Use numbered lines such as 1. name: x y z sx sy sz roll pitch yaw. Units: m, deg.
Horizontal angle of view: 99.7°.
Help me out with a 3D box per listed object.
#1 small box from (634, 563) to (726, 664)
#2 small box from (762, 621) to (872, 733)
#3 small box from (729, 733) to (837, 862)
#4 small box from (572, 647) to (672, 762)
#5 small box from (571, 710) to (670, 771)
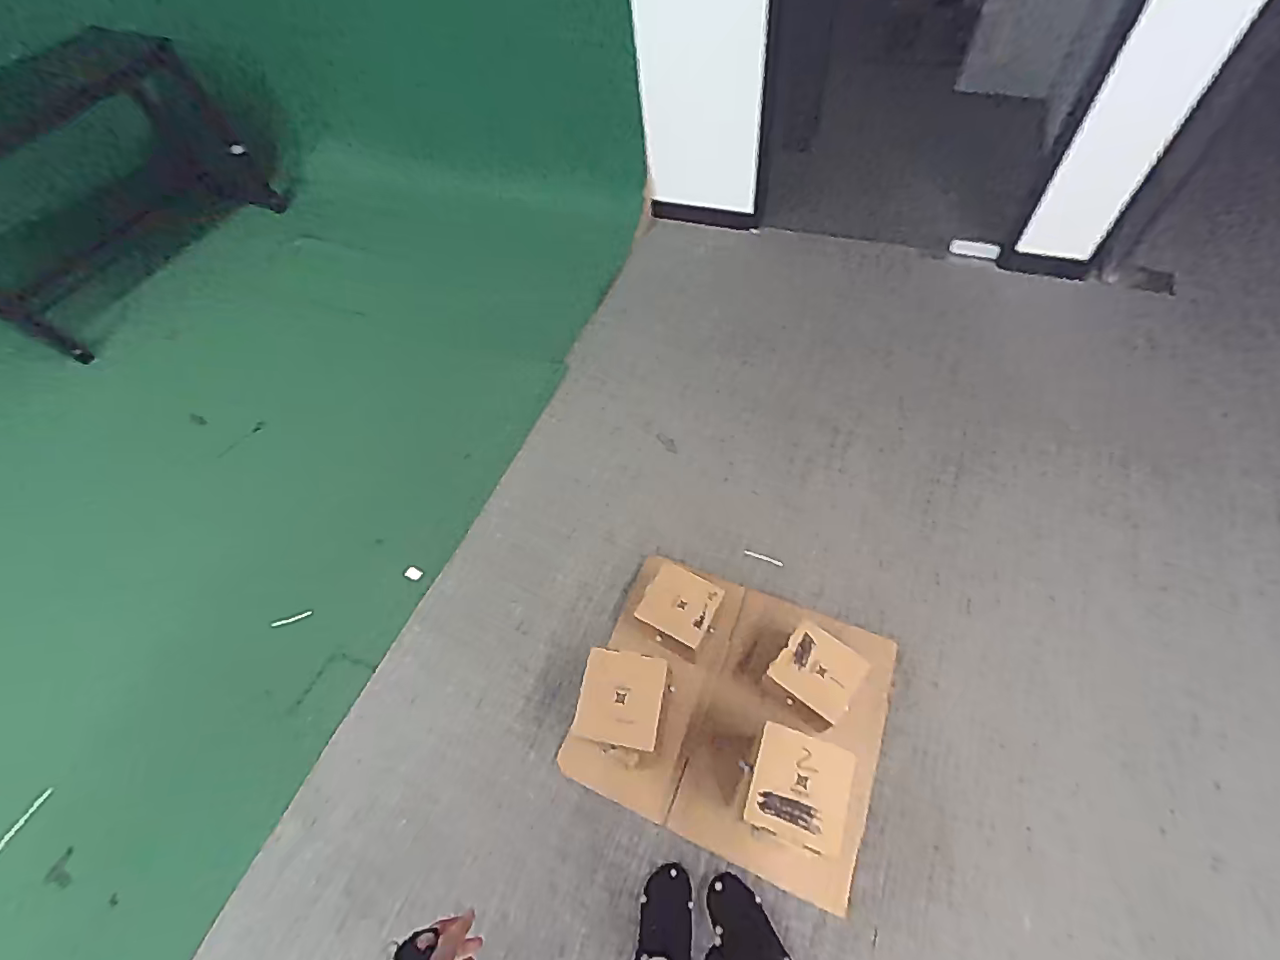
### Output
1. small box: 0.105 0.346 1.379 0.179 0.176 0.168 24 64 20
2. small box: 0.403 0.468 1.266 0.179 0.176 0.168 34 68 22
3. small box: 0.299 0.674 1.155 0.168 0.176 0.179 22 63 18
4. small box: -0.028 0.470 1.127 0.168 0.176 0.179 7 60 11
5. small box: -0.035 0.558 1.268 0.168 0.176 0.179 23 64 18
